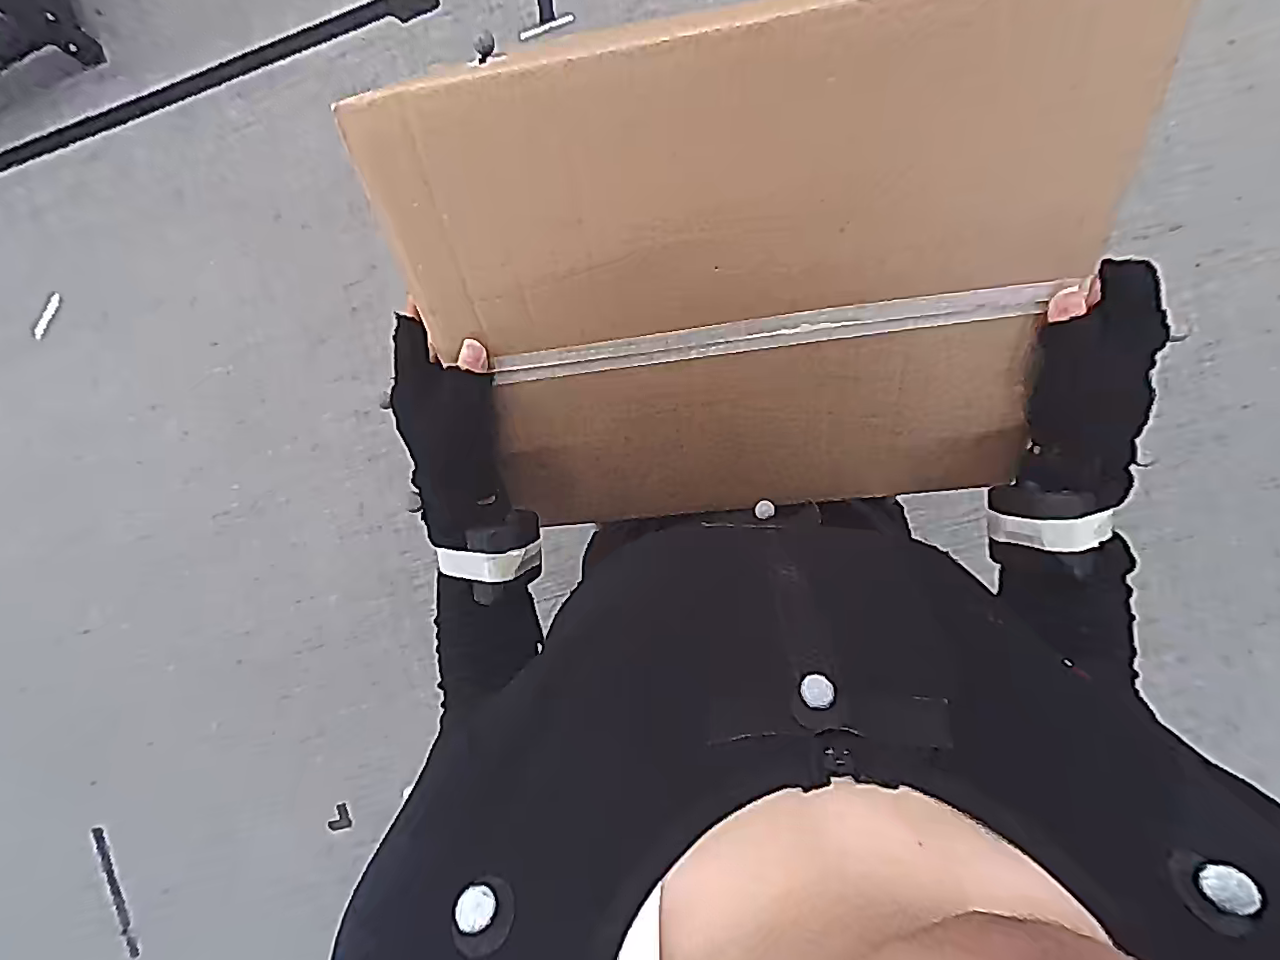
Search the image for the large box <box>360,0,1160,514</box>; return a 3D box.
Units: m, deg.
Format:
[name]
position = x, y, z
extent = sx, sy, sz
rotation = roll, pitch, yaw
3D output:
[large box]
position = 0.069, -0.202, 0.471
extent = 0.408, 0.320, 0.320
rotation = -6, 132, 7
